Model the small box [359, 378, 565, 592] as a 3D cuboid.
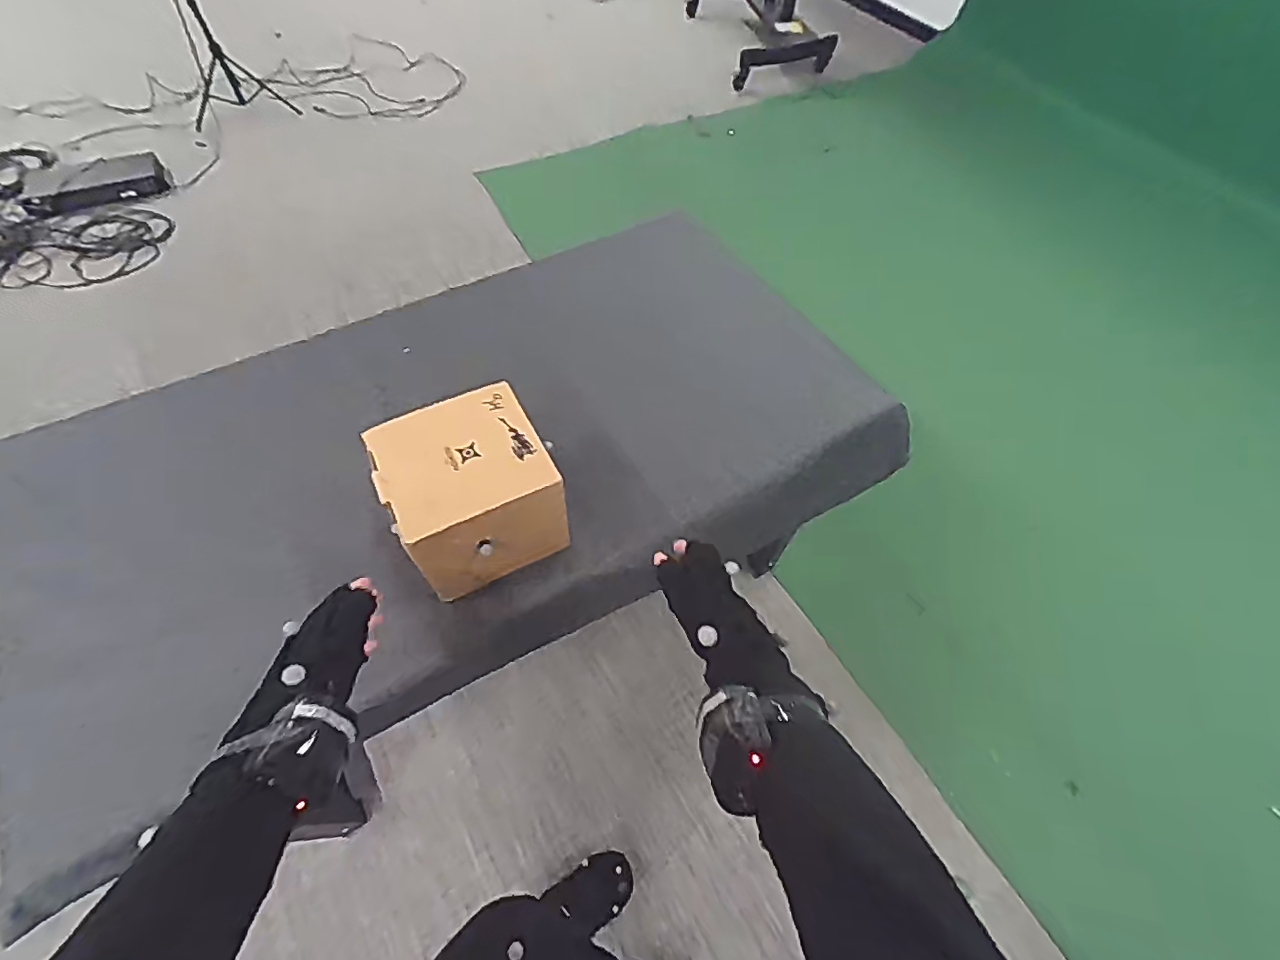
[{"bbox_3d":[-0.207,0.013,0.666,0.179,0.176,0.168,-25,63,-16],"label":"small box"}]
